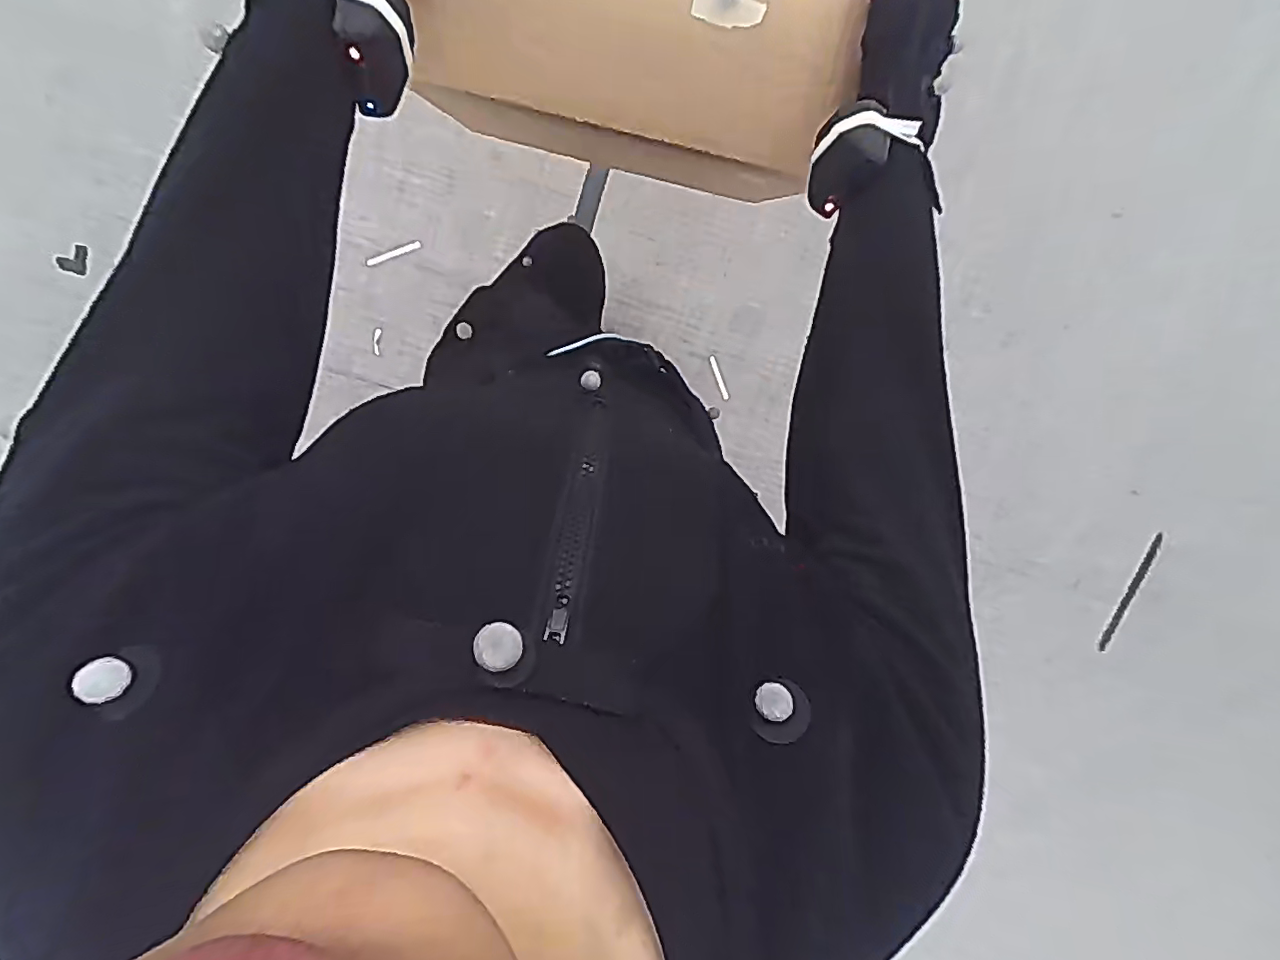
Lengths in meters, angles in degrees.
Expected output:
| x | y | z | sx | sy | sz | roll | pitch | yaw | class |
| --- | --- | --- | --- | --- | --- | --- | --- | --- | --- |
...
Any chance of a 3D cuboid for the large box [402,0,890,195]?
| x | y | z | sx | sy | sz | roll | pitch | yaw | class |
| --- | --- | --- | --- | --- | --- | --- | --- | --- | --- |
| 0.010 | -0.511 | 0.556 | 0.408 | 0.320 | 0.320 | 9 | 115 | -8 | large box |
